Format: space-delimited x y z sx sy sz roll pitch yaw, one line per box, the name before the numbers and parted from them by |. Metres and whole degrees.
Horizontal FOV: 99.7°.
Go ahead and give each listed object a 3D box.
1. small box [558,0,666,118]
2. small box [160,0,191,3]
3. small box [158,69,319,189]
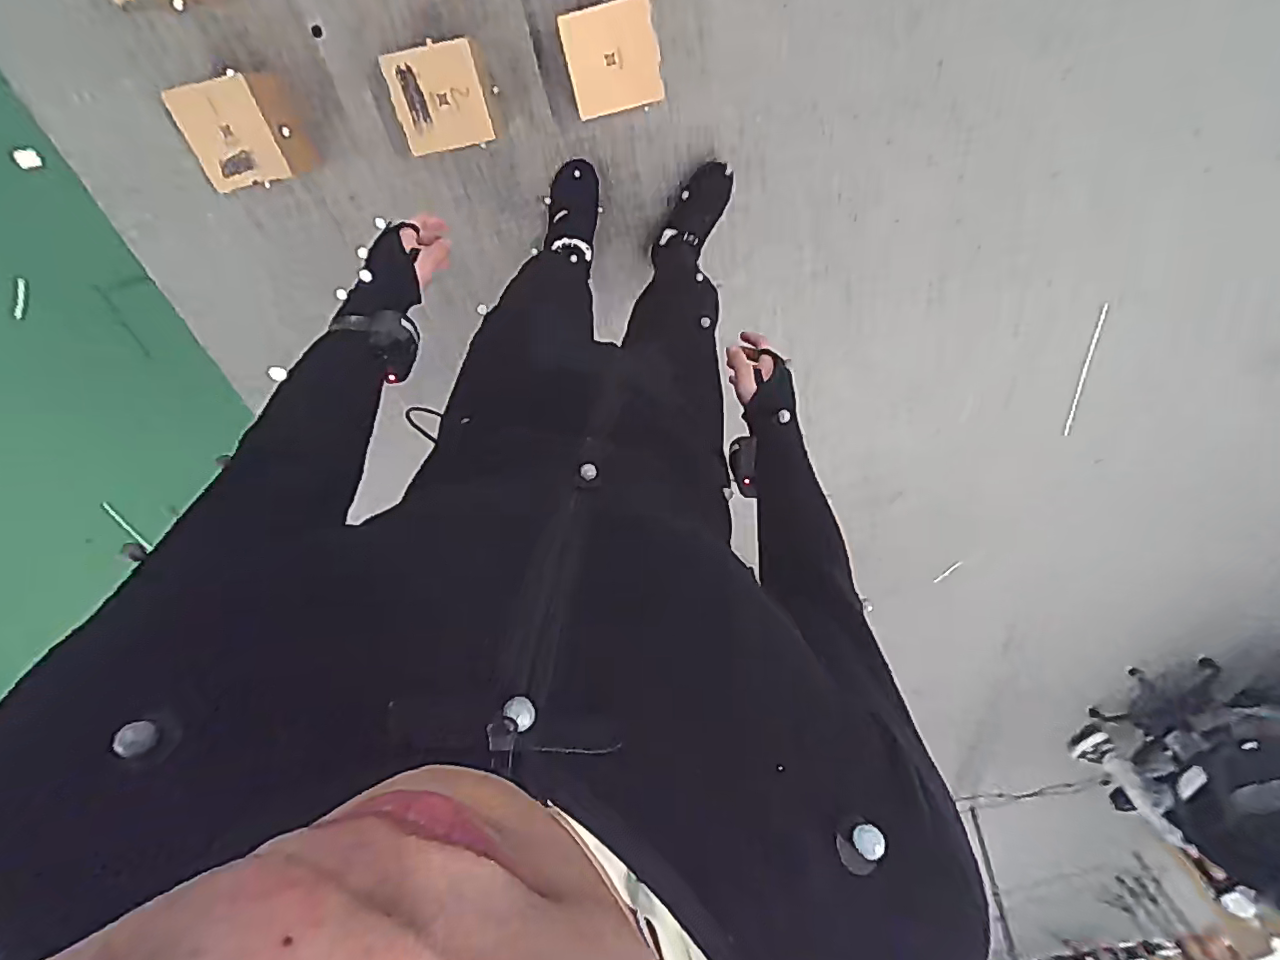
small box | -0.054 -0.846 1.085 0.179 0.176 0.168 -13 127 3
small box | -0.831 -0.948 0.930 0.179 0.176 0.168 -9 128 2
small box | -0.801 -0.720 1.106 0.168 0.176 0.179 -11 127 2
